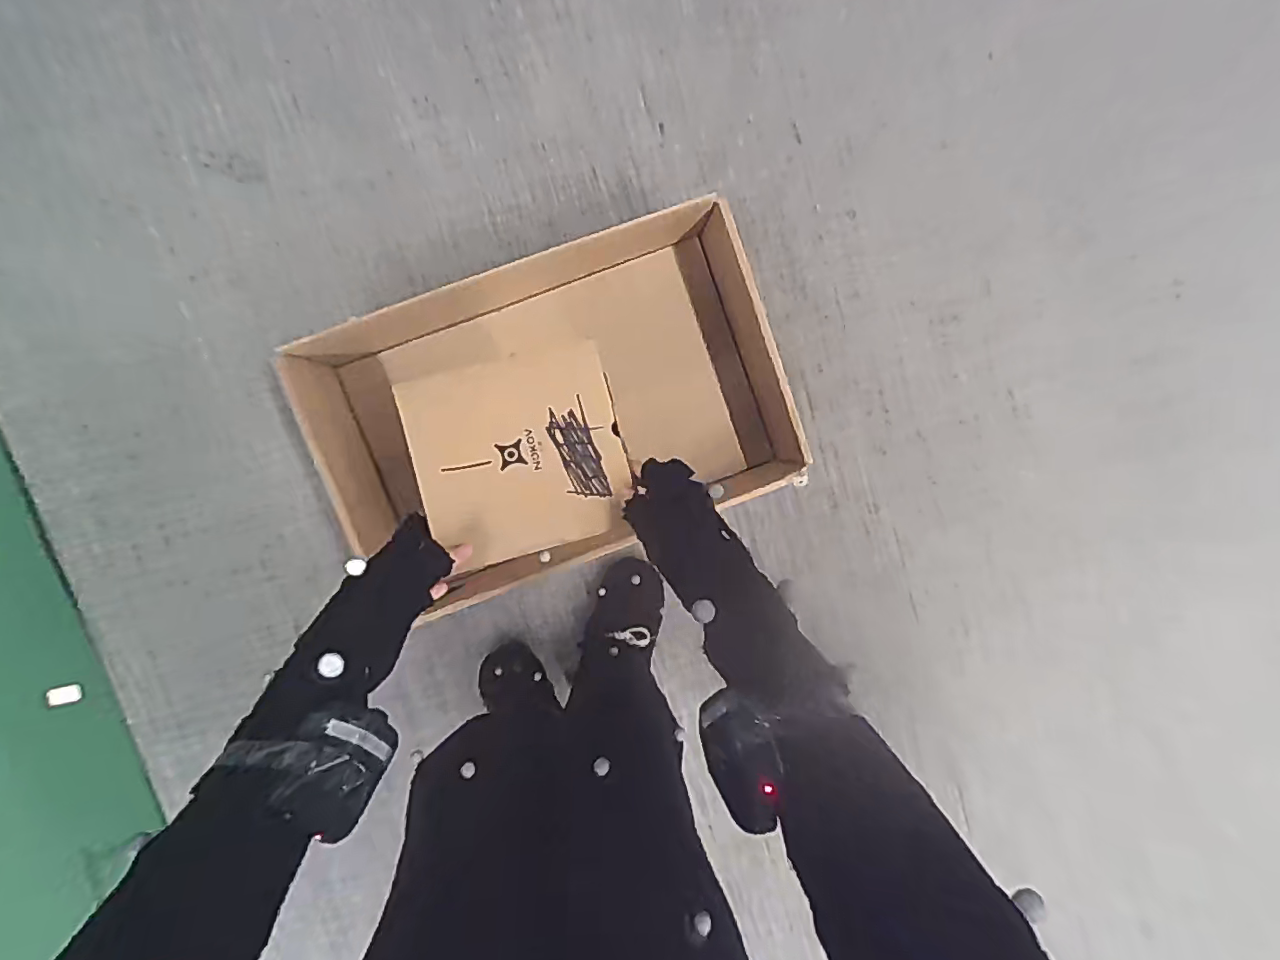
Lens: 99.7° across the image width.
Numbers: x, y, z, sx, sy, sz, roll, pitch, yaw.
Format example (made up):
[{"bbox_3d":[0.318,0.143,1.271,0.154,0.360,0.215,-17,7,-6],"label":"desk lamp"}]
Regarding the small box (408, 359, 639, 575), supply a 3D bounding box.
[{"bbox_3d":[-0.114,-0.009,0.561,0.179,0.176,0.168,-14,87,-8],"label":"small box"}]
